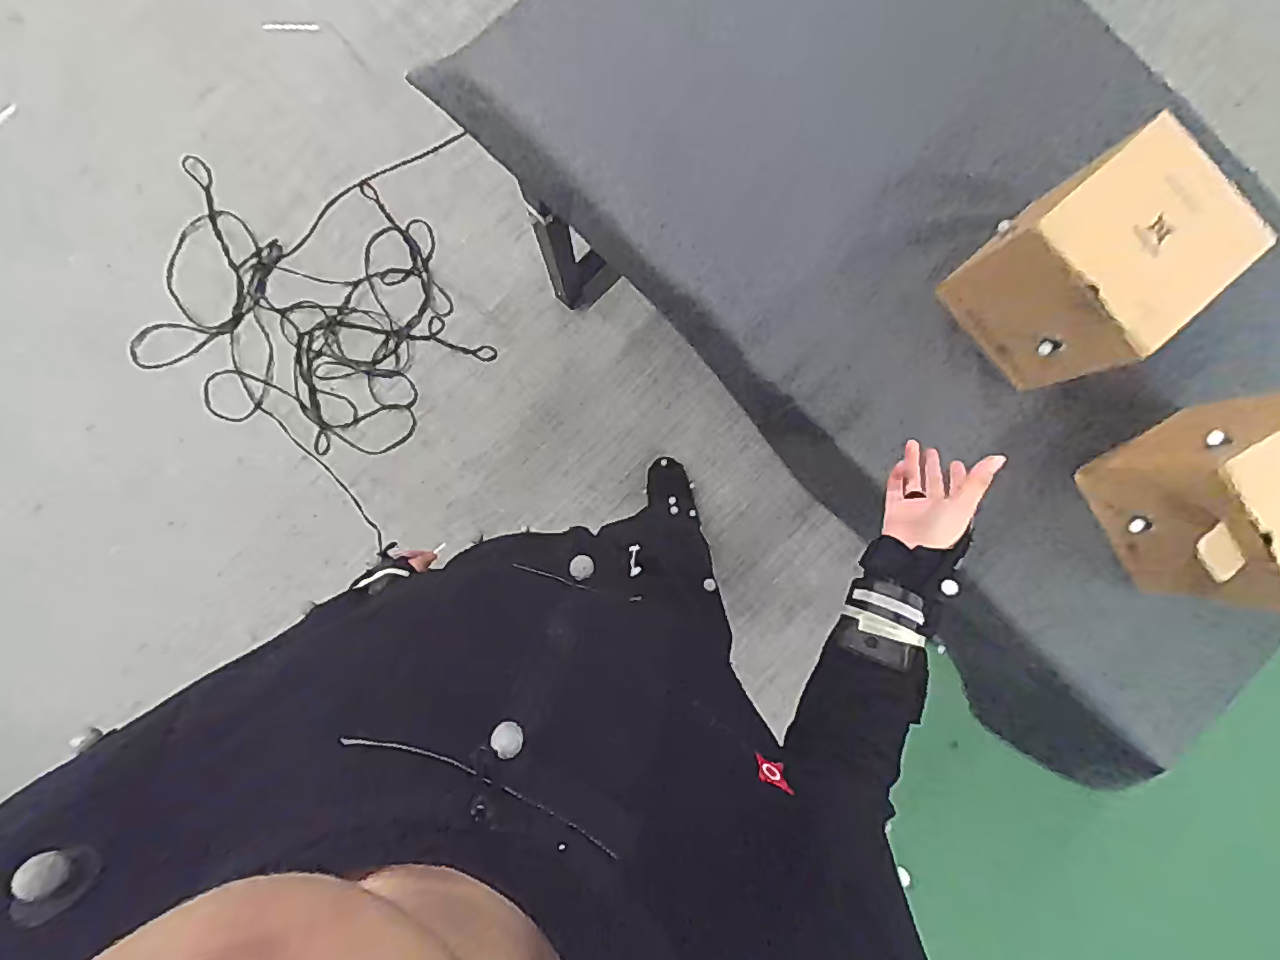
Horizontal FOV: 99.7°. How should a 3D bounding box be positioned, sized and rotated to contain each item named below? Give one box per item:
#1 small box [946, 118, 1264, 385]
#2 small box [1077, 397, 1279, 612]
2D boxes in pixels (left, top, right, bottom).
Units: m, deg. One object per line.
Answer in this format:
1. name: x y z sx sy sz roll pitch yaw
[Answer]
1. small box: 0.476 -0.227 0.590 0.179 0.176 0.168 -42 92 -4
2. small box: 0.646 0.018 0.589 0.179 0.176 0.168 -29 90 -3
